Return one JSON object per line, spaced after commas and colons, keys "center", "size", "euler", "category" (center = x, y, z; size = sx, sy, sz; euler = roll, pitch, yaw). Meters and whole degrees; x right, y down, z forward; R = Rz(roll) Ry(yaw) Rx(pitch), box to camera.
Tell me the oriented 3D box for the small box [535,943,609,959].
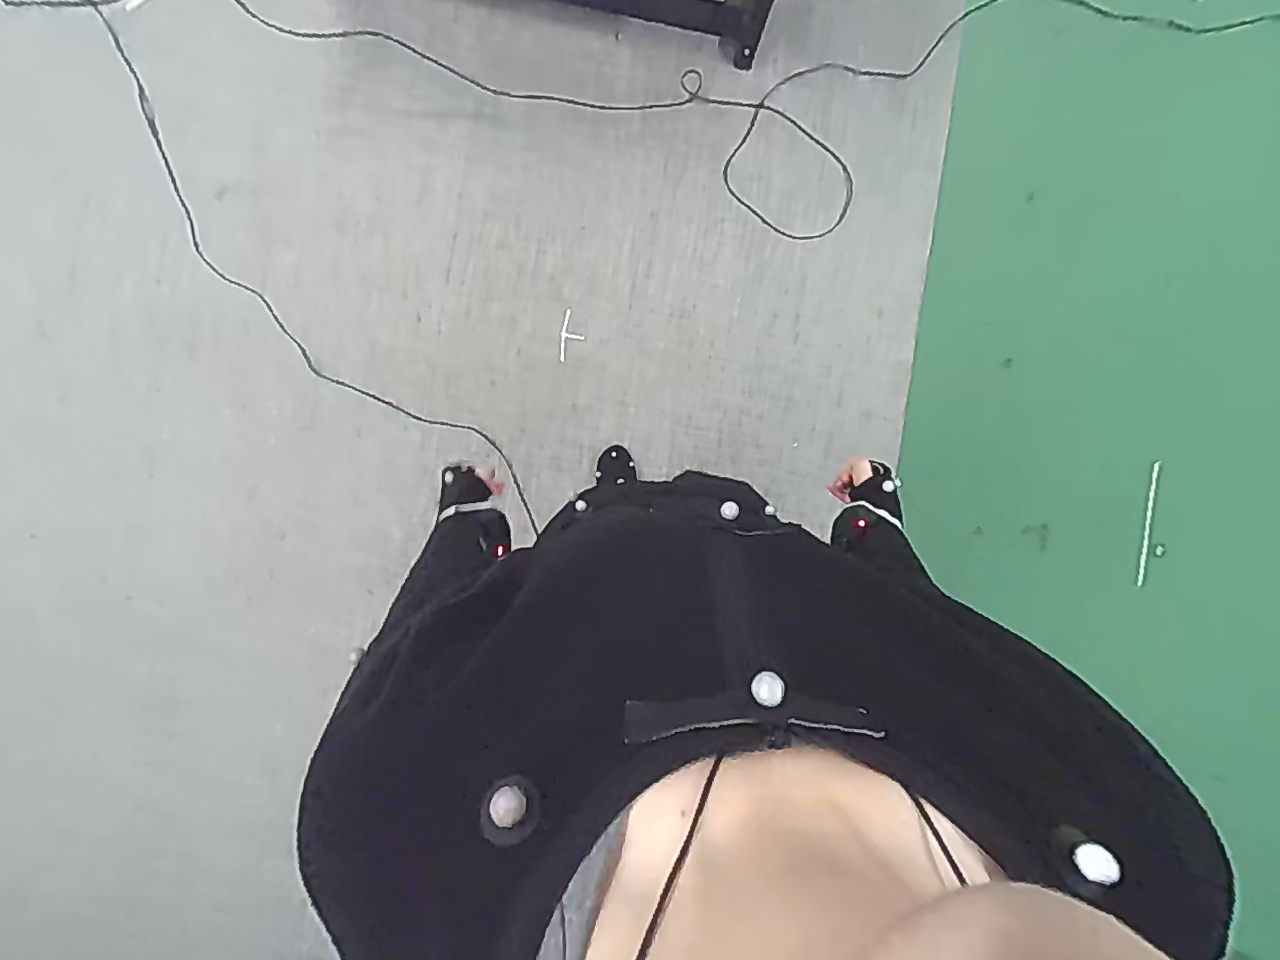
{"center": [-0.164, 1.180, 1.202], "size": [0.179, 0.176, 0.168], "euler": [7, 89, -3], "category": "small box"}
